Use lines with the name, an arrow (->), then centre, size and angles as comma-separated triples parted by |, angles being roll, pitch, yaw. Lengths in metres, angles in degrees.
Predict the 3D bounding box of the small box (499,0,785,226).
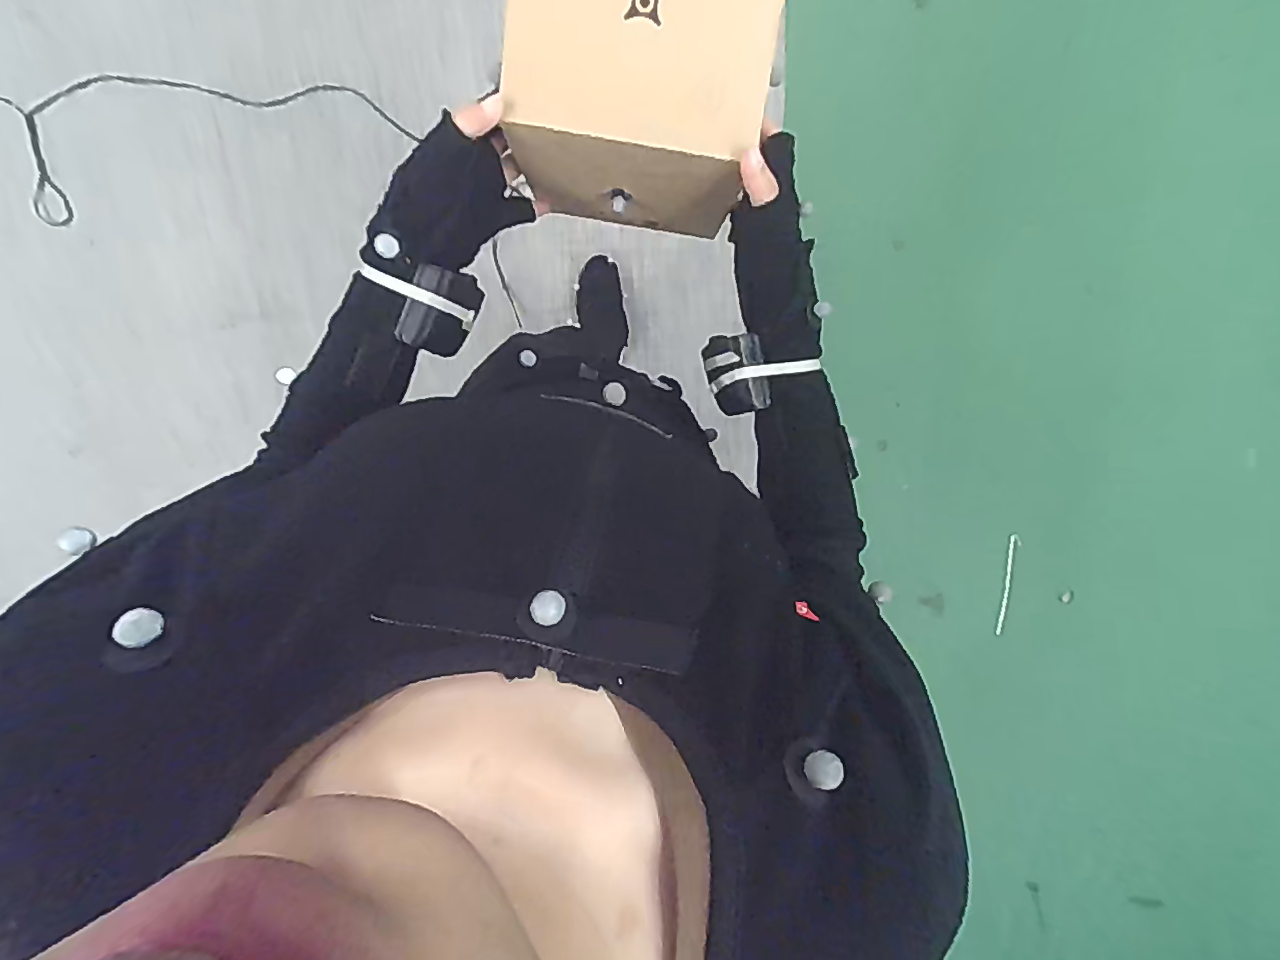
small box -> 0.006, -0.309, 0.398 | 0.168, 0.176, 0.179 | 9, 98, -3
